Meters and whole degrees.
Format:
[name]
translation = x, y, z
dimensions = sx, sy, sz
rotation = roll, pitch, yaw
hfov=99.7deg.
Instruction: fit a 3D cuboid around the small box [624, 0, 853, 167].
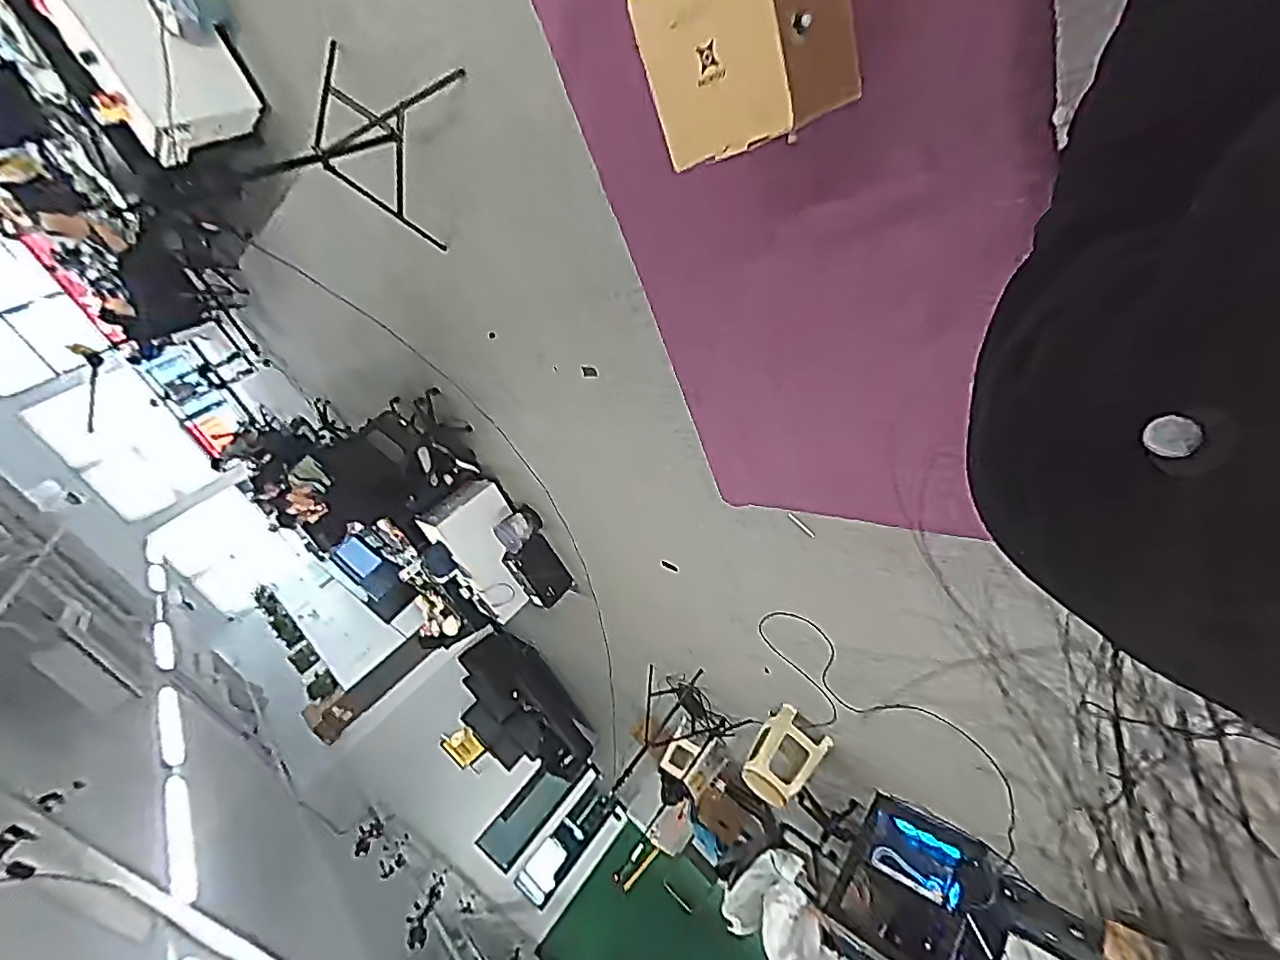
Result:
[small box]
translation = 0.119, -0.487, 0.604
dimensions = 0.168, 0.176, 0.179
rotation = 10, 132, 45
